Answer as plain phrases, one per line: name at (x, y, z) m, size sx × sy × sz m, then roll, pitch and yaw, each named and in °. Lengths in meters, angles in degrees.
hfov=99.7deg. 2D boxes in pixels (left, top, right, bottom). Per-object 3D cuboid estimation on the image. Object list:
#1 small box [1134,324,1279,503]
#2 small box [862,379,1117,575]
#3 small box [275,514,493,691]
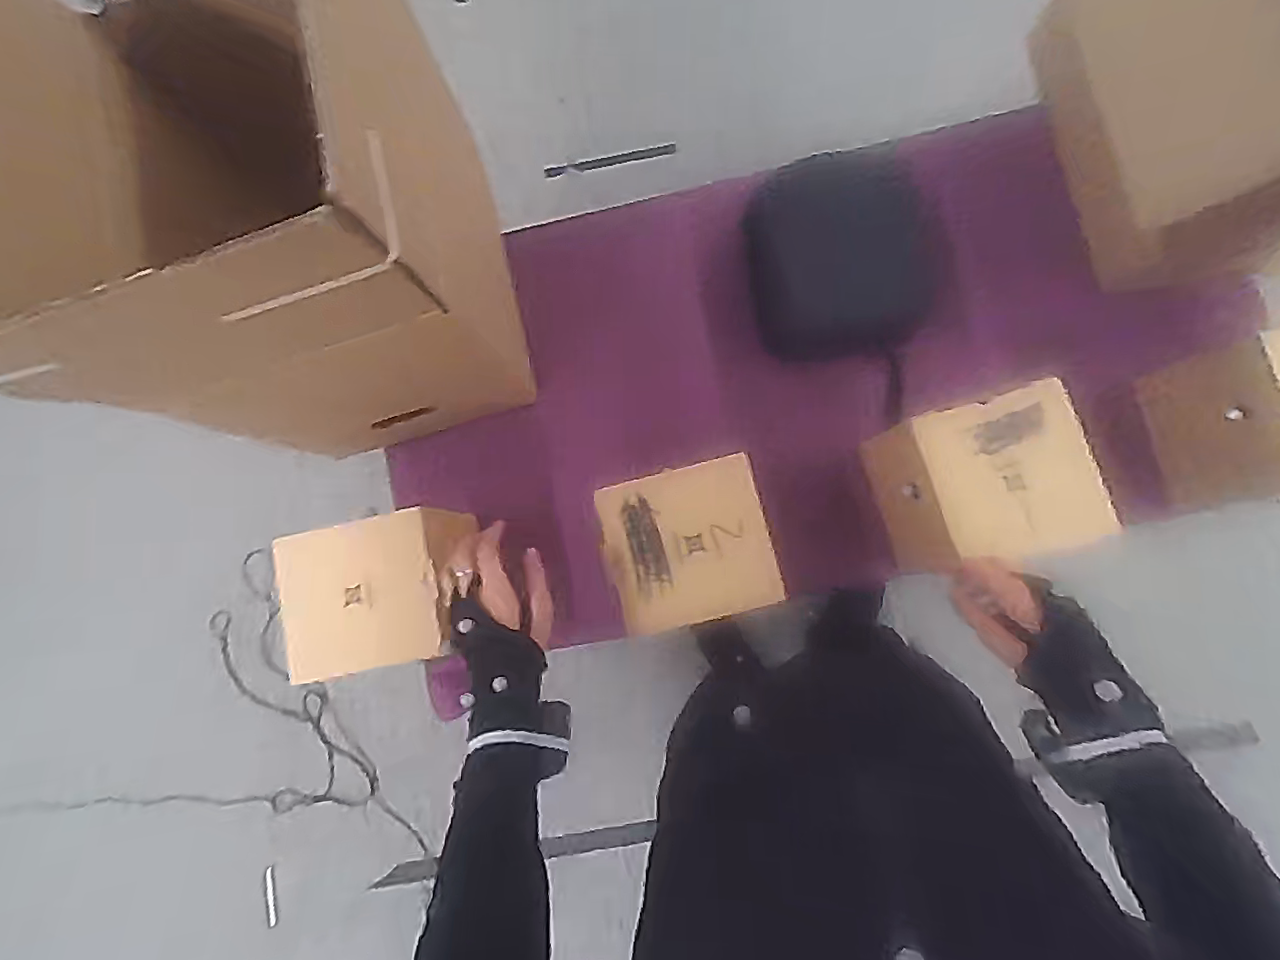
small box at (0.741, -0.078, 0.629) m, size 0.168 × 0.176 × 0.179 m, roll -12°, pitch 82°, yaw 3°
small box at (0.391, 0.005, 0.644) m, size 0.168 × 0.176 × 0.179 m, roll -17°, pitch 83°, yaw 2°
small box at (-0.306, 0.145, 0.674) m, size 0.179 × 0.176 × 0.168 m, roll -13°, pitch 82°, yaw 1°
